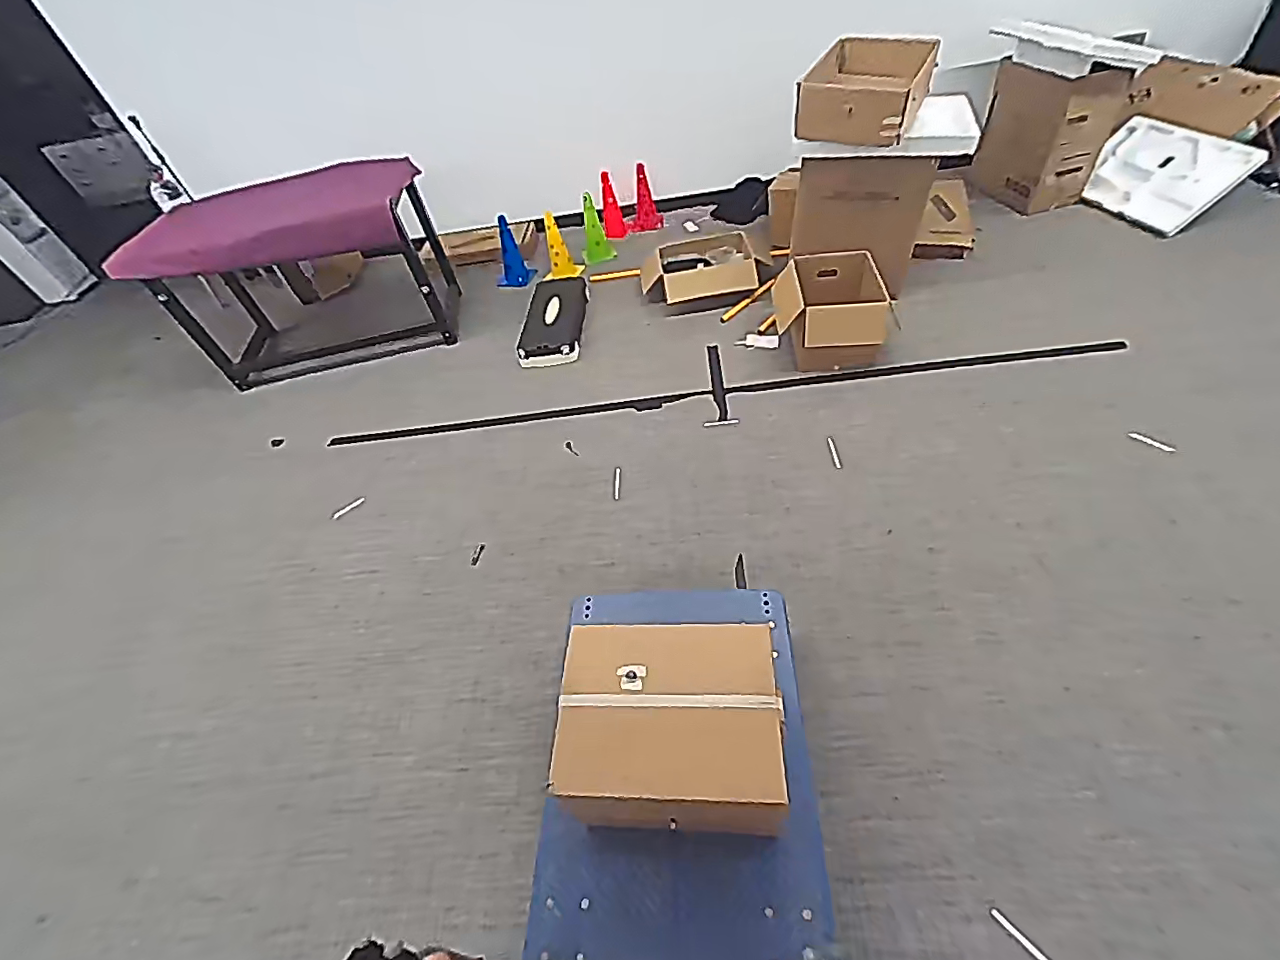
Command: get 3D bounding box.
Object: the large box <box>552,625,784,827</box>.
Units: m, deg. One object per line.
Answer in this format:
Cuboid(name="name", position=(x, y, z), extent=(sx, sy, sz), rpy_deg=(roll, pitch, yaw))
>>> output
Cuboid(name="large box", position=(0.072, 0.519, 1.126), extent=(0.408, 0.320, 0.320), rpy_deg=(-4, 48, 9))
